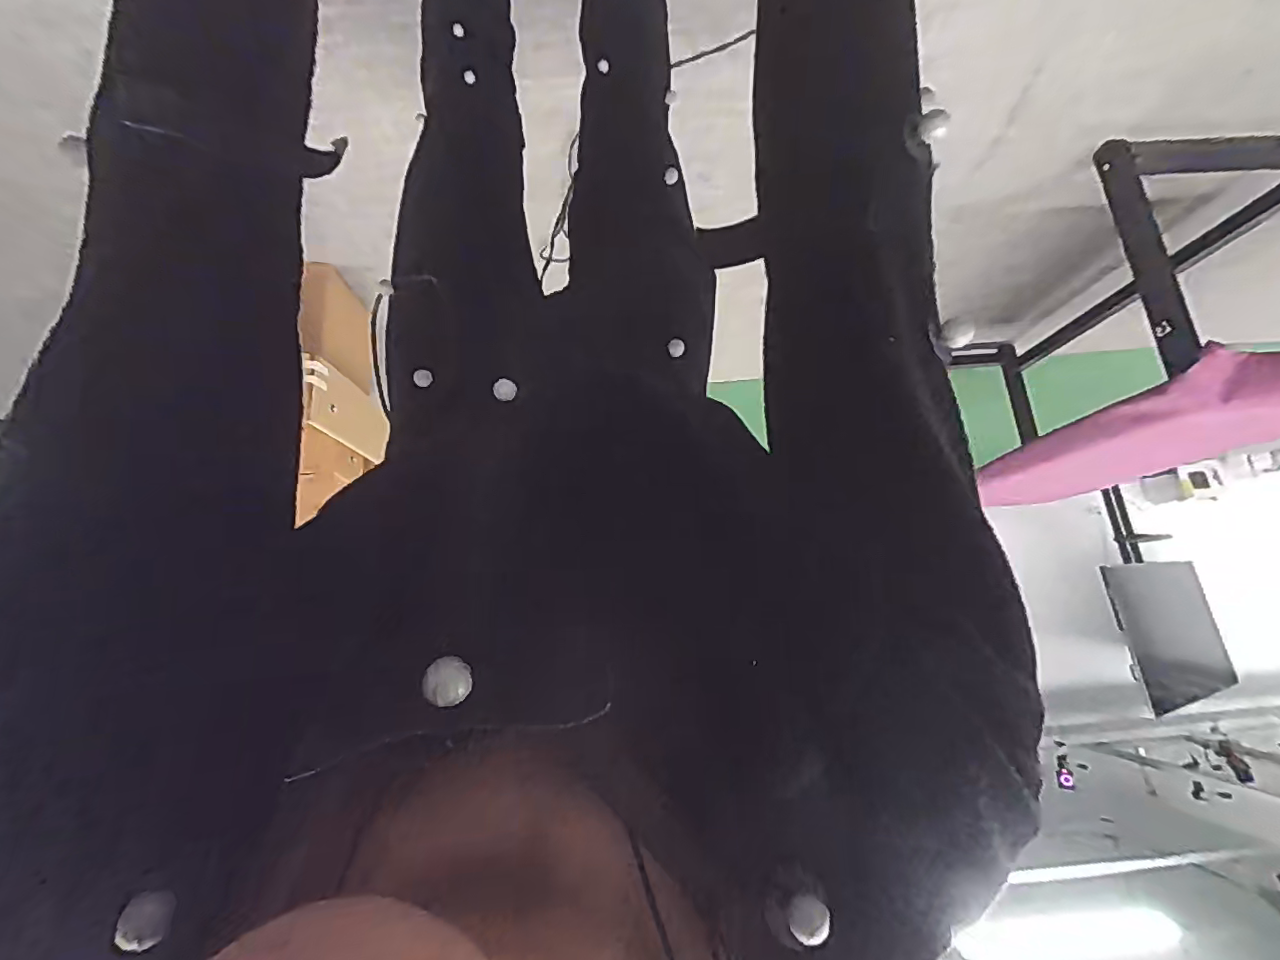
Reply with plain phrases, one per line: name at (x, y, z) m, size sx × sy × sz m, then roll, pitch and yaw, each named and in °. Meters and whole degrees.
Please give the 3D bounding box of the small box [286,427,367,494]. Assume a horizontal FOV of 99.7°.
small box at (-0.988, -0.064, 1.715) m, size 0.168 × 0.176 × 0.179 m, roll -4°, pitch 165°, yaw -3°
